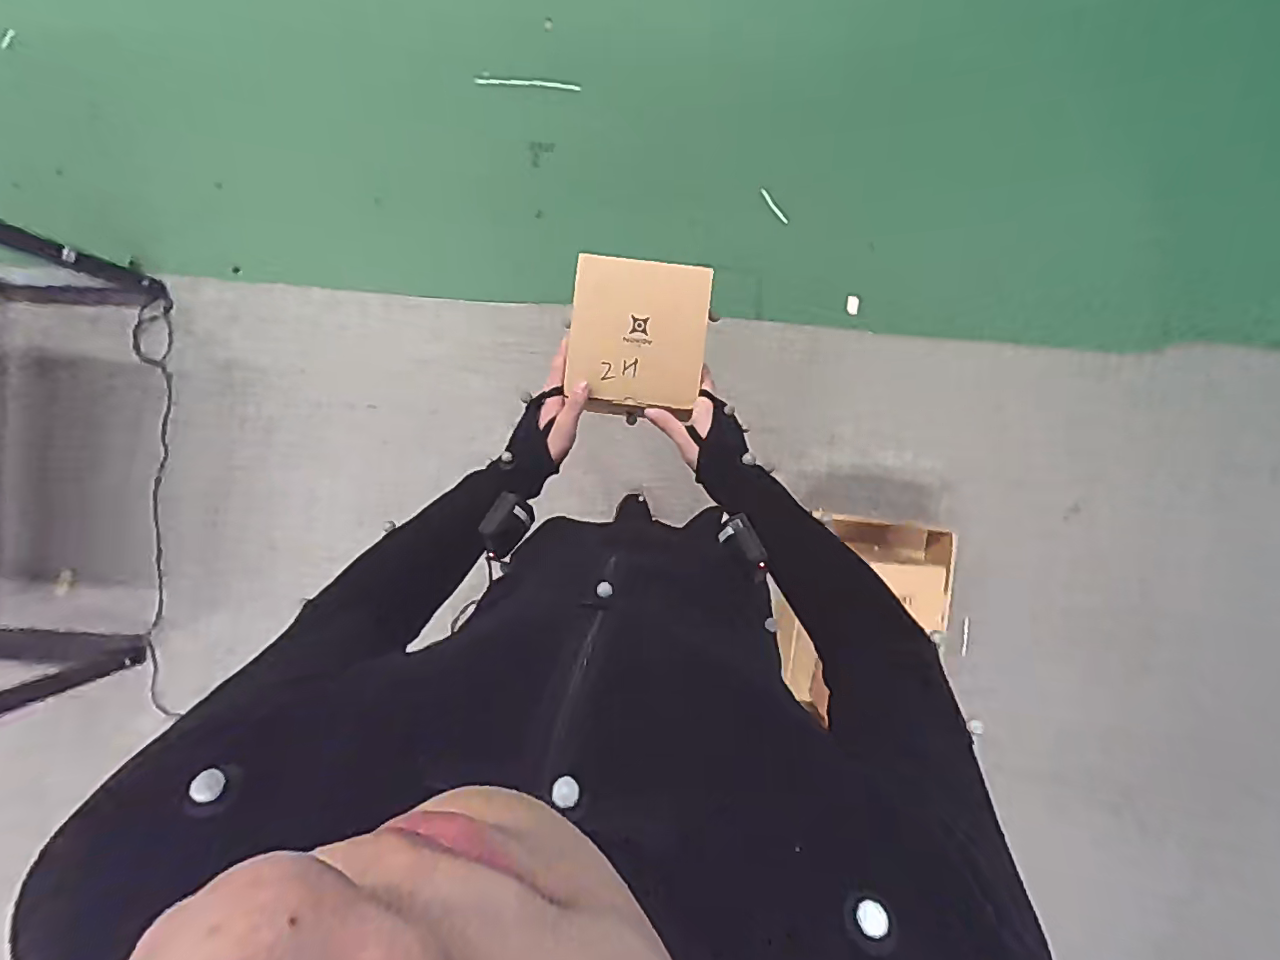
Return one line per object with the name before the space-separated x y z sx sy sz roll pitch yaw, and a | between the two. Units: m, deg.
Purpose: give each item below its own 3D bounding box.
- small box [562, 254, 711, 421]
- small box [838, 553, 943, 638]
small box | -0.004 -0.180 0.731 0.168 0.176 0.179 6 92 1
small box | 0.606 0.276 1.324 0.179 0.176 0.168 4 91 1
